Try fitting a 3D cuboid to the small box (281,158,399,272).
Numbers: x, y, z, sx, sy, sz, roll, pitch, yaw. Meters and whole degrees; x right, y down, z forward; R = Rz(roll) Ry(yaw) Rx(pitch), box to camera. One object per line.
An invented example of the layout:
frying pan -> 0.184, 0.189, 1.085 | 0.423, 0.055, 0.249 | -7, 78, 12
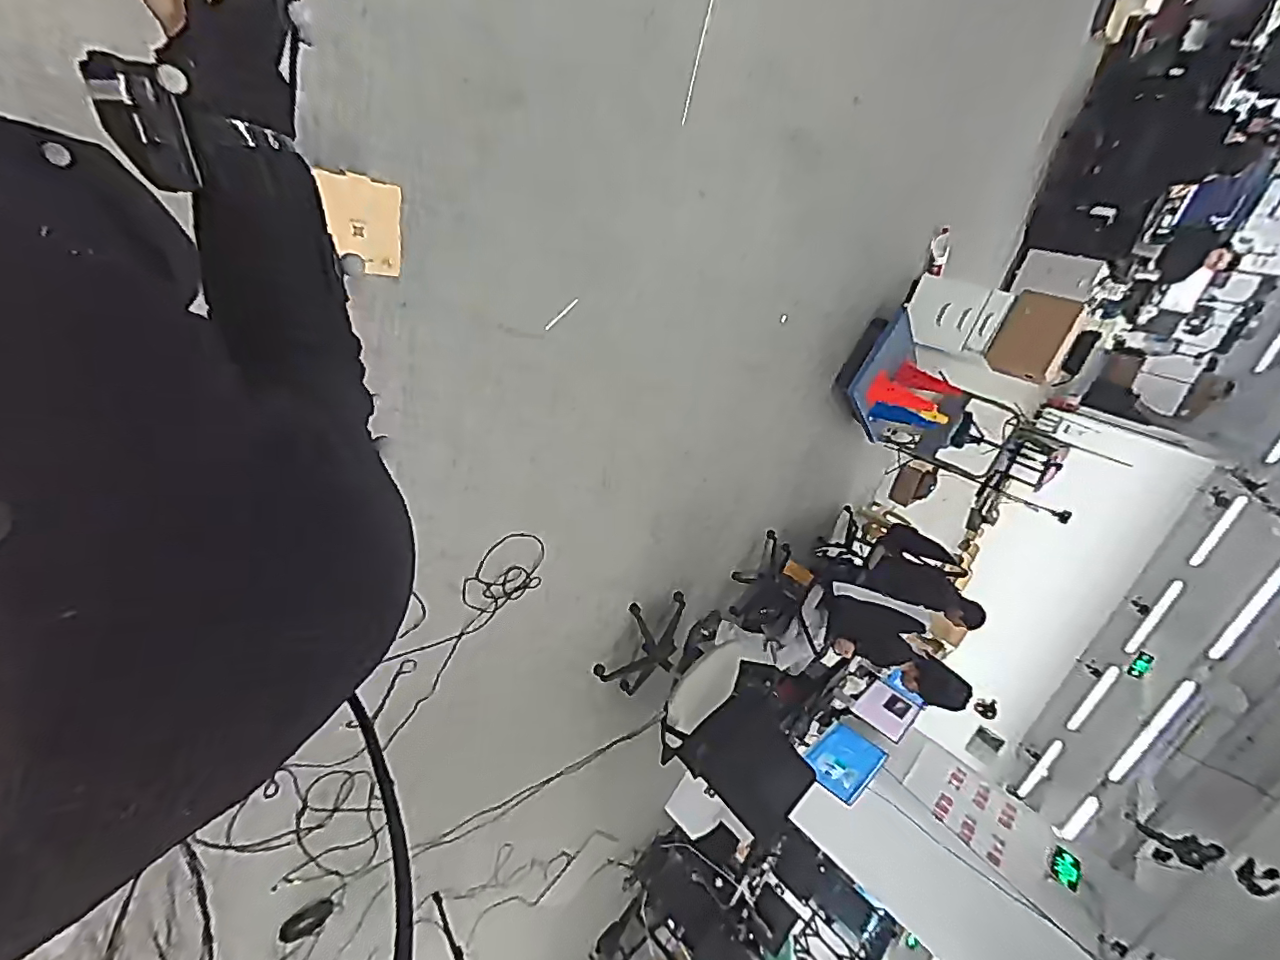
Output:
small box -> -0.609, -0.538, 1.099 | 0.168, 0.176, 0.179 | -14, 125, -44
